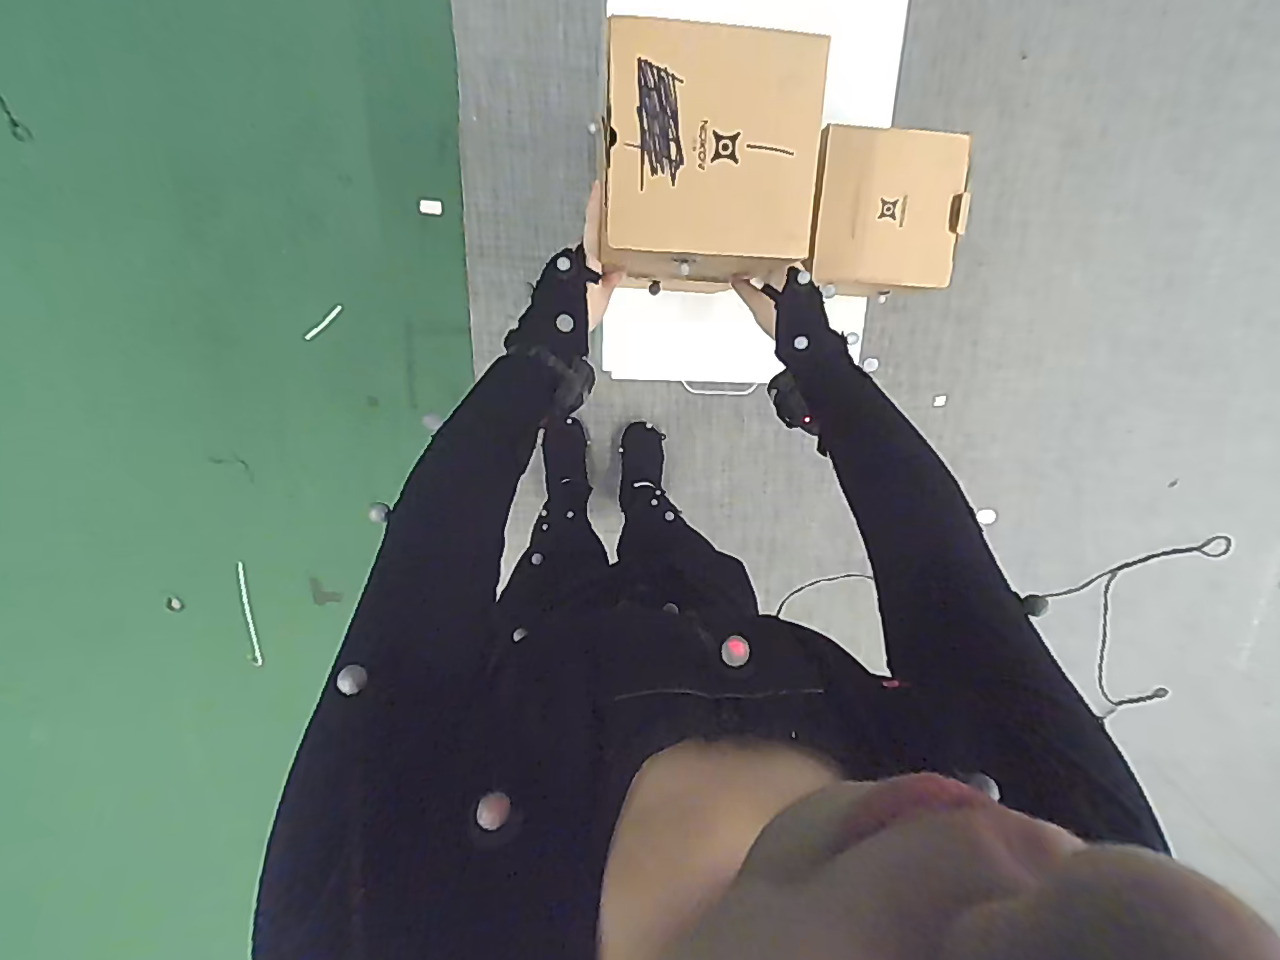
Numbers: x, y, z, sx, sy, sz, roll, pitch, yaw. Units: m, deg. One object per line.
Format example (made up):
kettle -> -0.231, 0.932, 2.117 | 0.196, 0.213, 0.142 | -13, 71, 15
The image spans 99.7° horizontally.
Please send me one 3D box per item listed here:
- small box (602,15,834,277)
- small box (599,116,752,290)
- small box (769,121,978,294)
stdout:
small box -> 0.054, -0.288, 0.509 | 0.179, 0.176, 0.168 | 0, 105, -7
small box -> 0.039, -0.329, 0.669 | 0.179, 0.176, 0.168 | 1, 106, -7
small box -> 0.283, -0.333, 0.696 | 0.179, 0.176, 0.168 | 1, 105, -4
